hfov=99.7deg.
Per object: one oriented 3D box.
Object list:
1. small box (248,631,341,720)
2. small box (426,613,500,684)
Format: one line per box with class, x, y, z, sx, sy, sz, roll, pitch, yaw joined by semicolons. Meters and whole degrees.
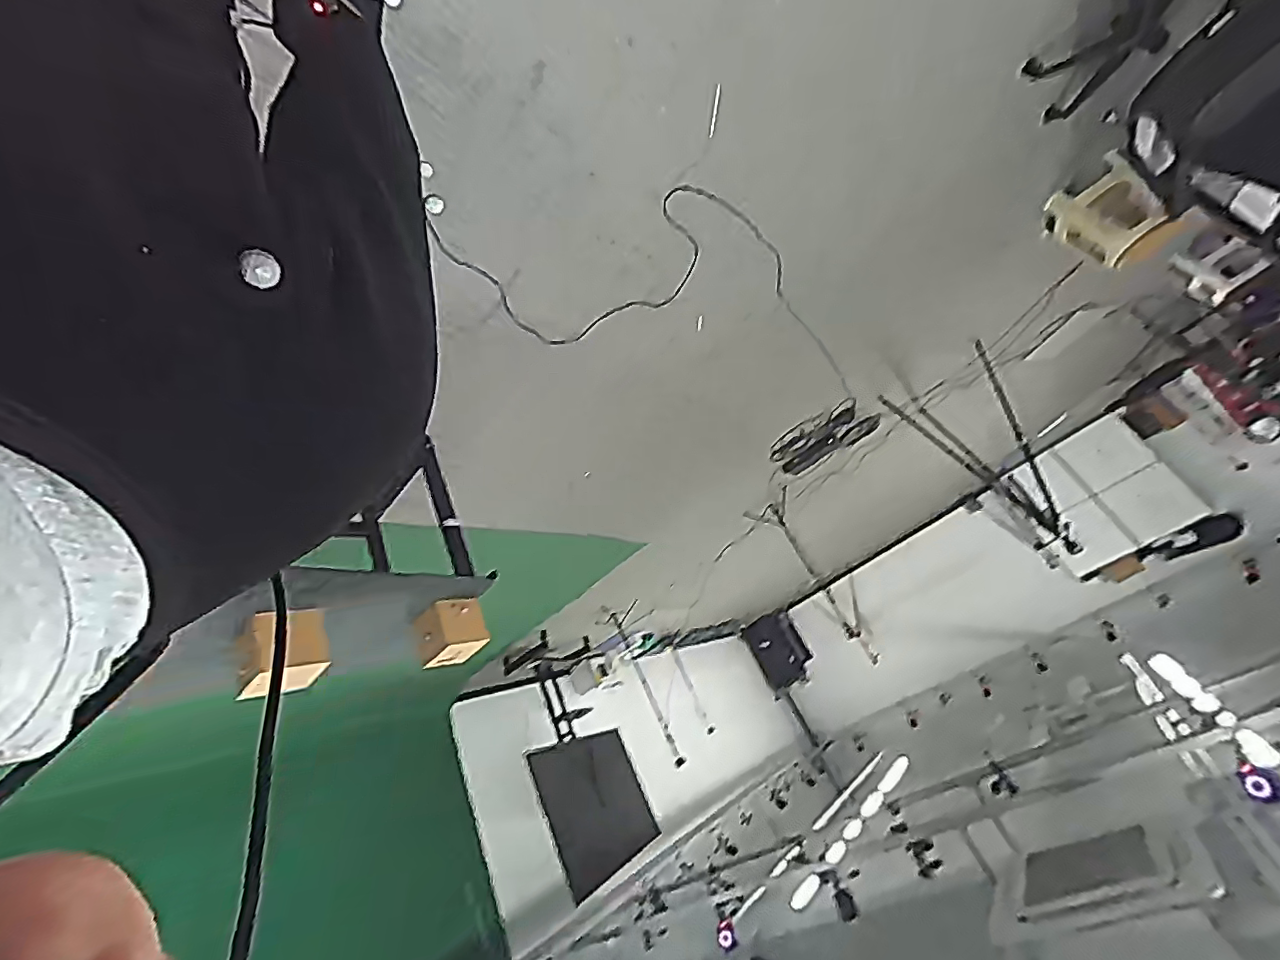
small box;-0.948;0.522;1.476;0.179;0.176;0.168;-42;149;27
small box;-0.623;0.582;1.881;0.179;0.176;0.168;-43;150;26
